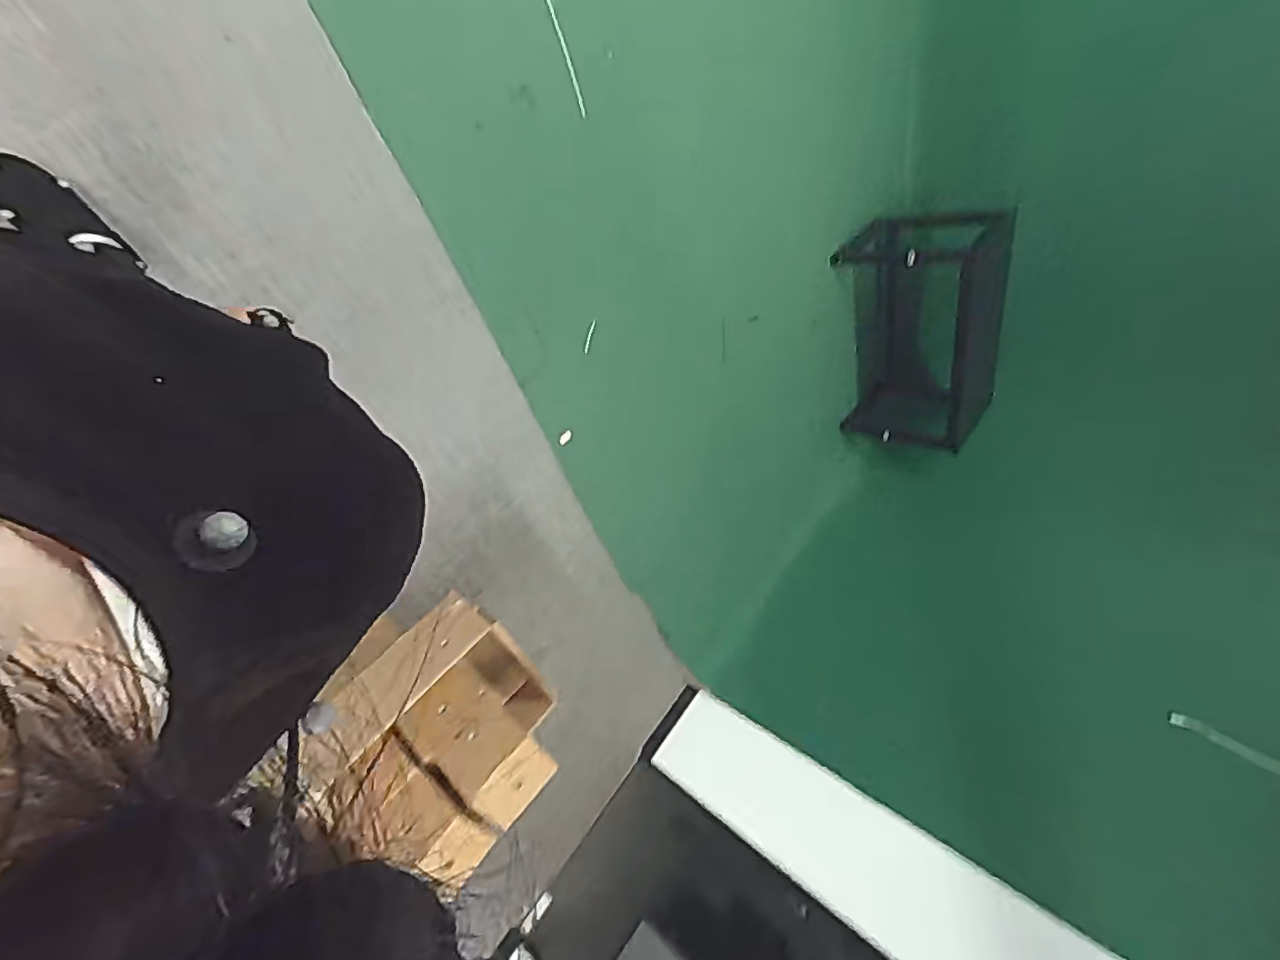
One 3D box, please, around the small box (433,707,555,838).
[{"bbox_3d":[-0.328,0.650,1.220,0.168,0.176,0.179,-43,132,-27],"label":"small box"}]
